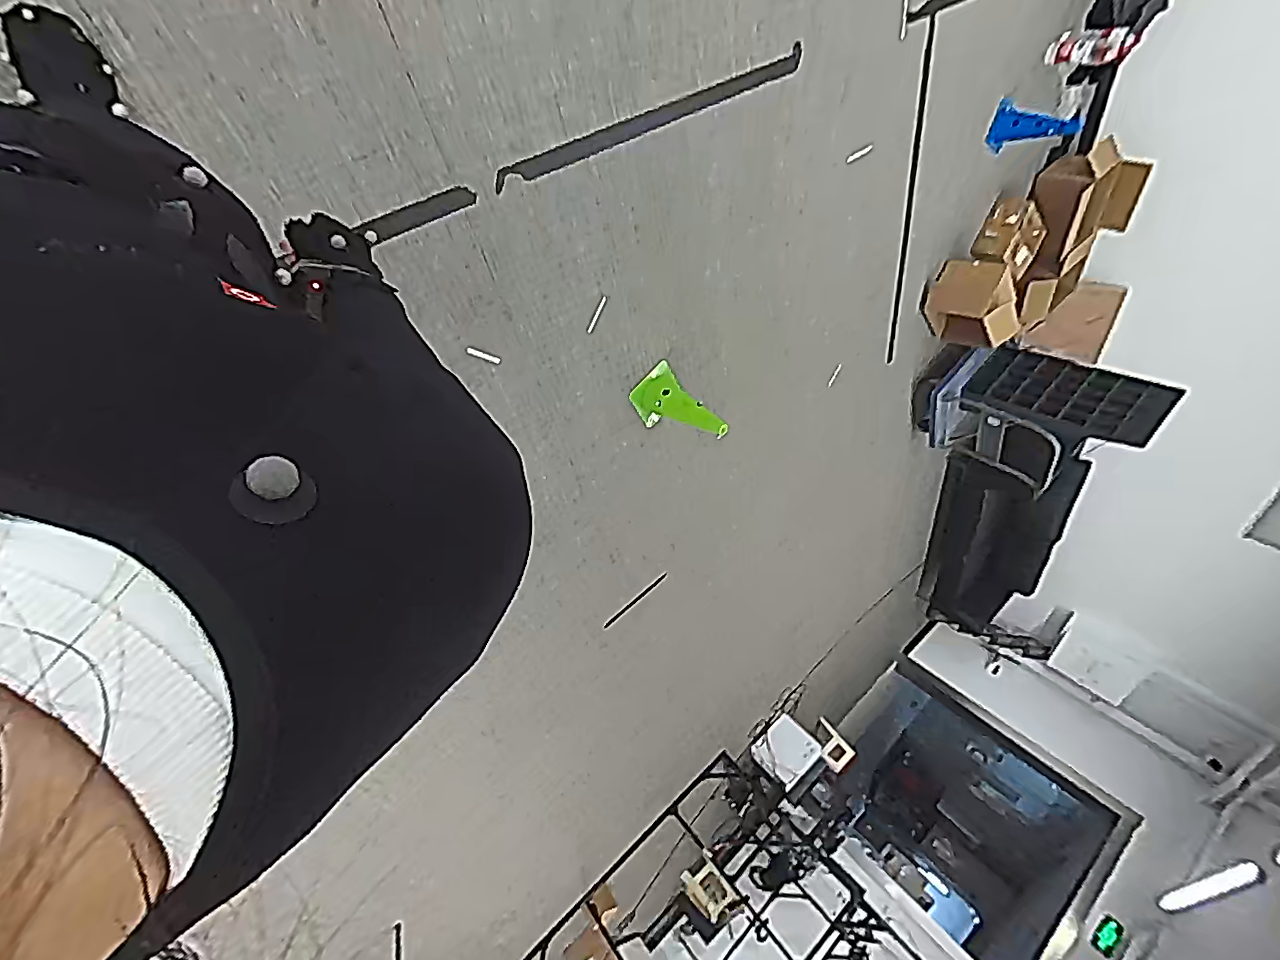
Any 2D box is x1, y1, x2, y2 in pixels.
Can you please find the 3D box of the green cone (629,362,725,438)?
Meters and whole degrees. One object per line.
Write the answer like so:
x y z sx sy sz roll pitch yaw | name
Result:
0.163 -0.244 1.920 0.202 0.368 0.200 -46 138 -8 | green cone
